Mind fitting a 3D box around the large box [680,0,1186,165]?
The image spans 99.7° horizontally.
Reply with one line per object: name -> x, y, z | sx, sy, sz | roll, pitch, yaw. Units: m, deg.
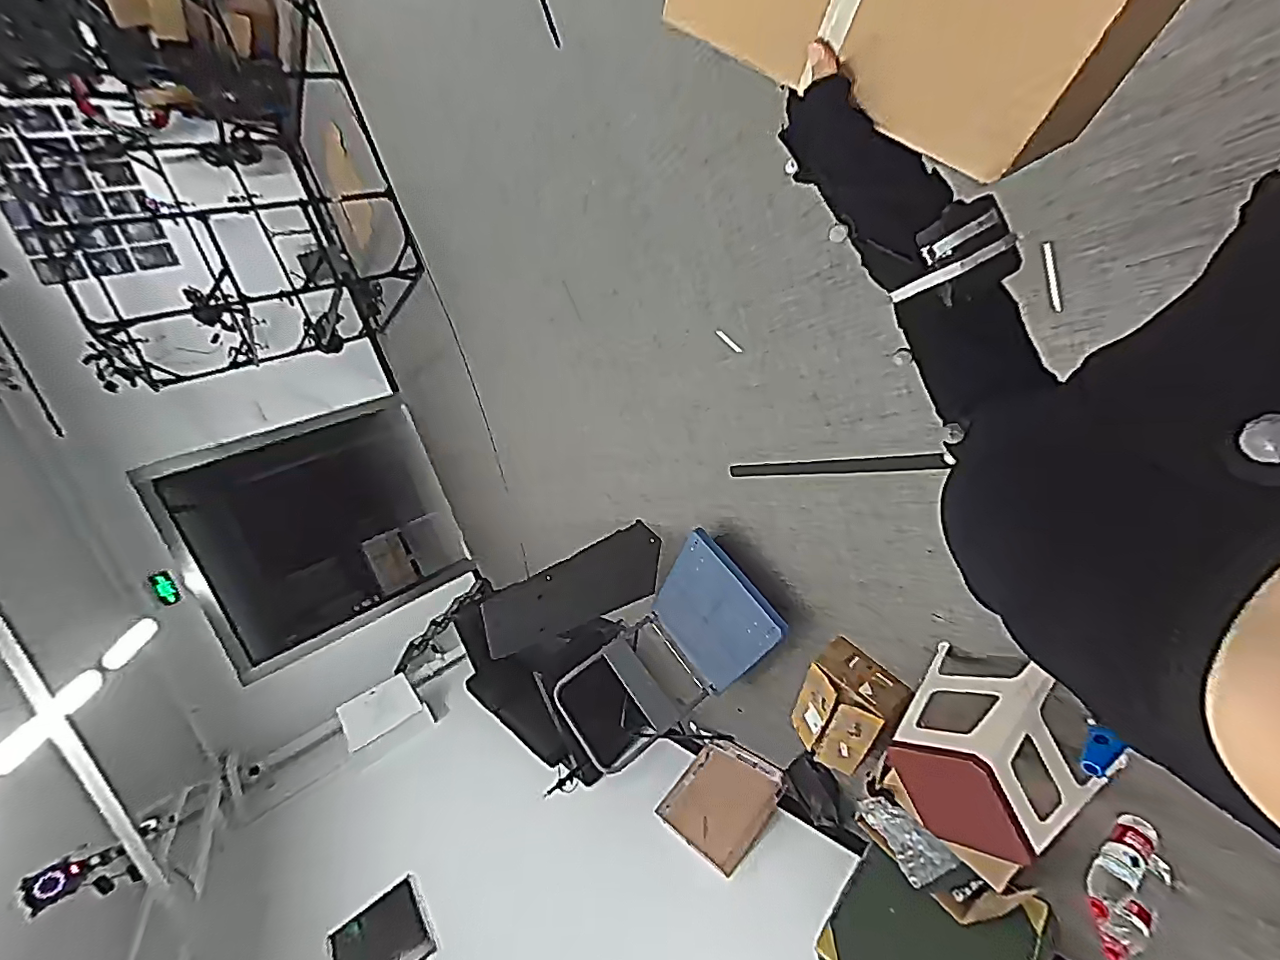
large box -> 0.285, -0.499, 0.365 | 0.320, 0.320, 0.408 | 42, 141, 17
